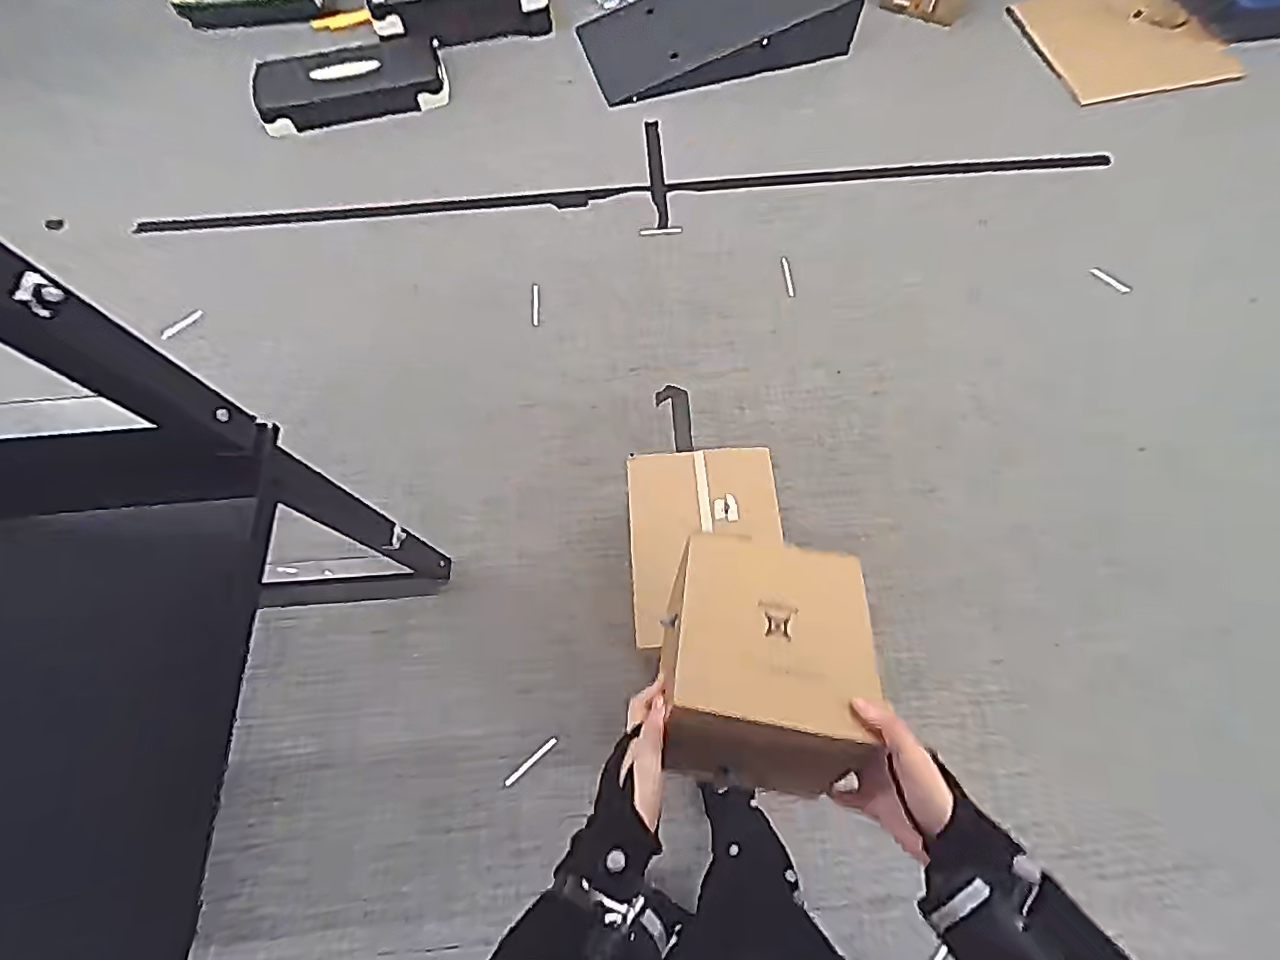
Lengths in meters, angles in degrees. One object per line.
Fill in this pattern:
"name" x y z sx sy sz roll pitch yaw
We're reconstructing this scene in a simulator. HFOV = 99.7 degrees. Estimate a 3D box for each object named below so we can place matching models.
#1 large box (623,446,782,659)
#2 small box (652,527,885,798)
"large box" 0.133 0.176 1.229 0.320 0.320 0.408 -3 68 -2
"small box" 0.109 0.176 0.524 0.168 0.176 0.179 10 45 2
